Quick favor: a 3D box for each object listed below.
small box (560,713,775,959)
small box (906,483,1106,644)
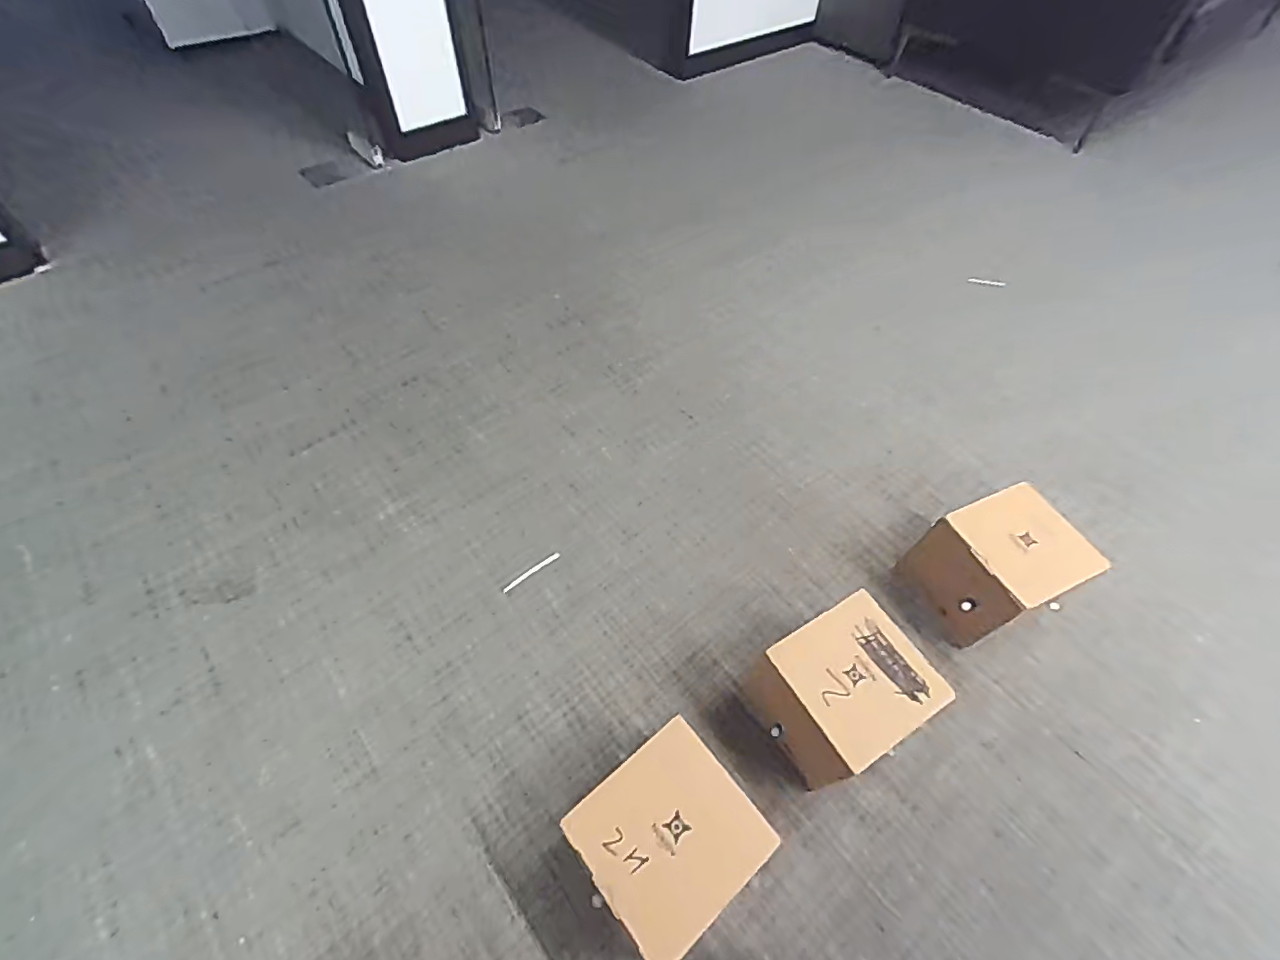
[{"bbox_3d":[0.025,0.414,0.637,0.179,0.176,0.168,-33,61,-23],"label":"small box"},{"bbox_3d":[0.557,0.137,0.859,0.179,0.176,0.168,-18,58,-16],"label":"small box"}]
